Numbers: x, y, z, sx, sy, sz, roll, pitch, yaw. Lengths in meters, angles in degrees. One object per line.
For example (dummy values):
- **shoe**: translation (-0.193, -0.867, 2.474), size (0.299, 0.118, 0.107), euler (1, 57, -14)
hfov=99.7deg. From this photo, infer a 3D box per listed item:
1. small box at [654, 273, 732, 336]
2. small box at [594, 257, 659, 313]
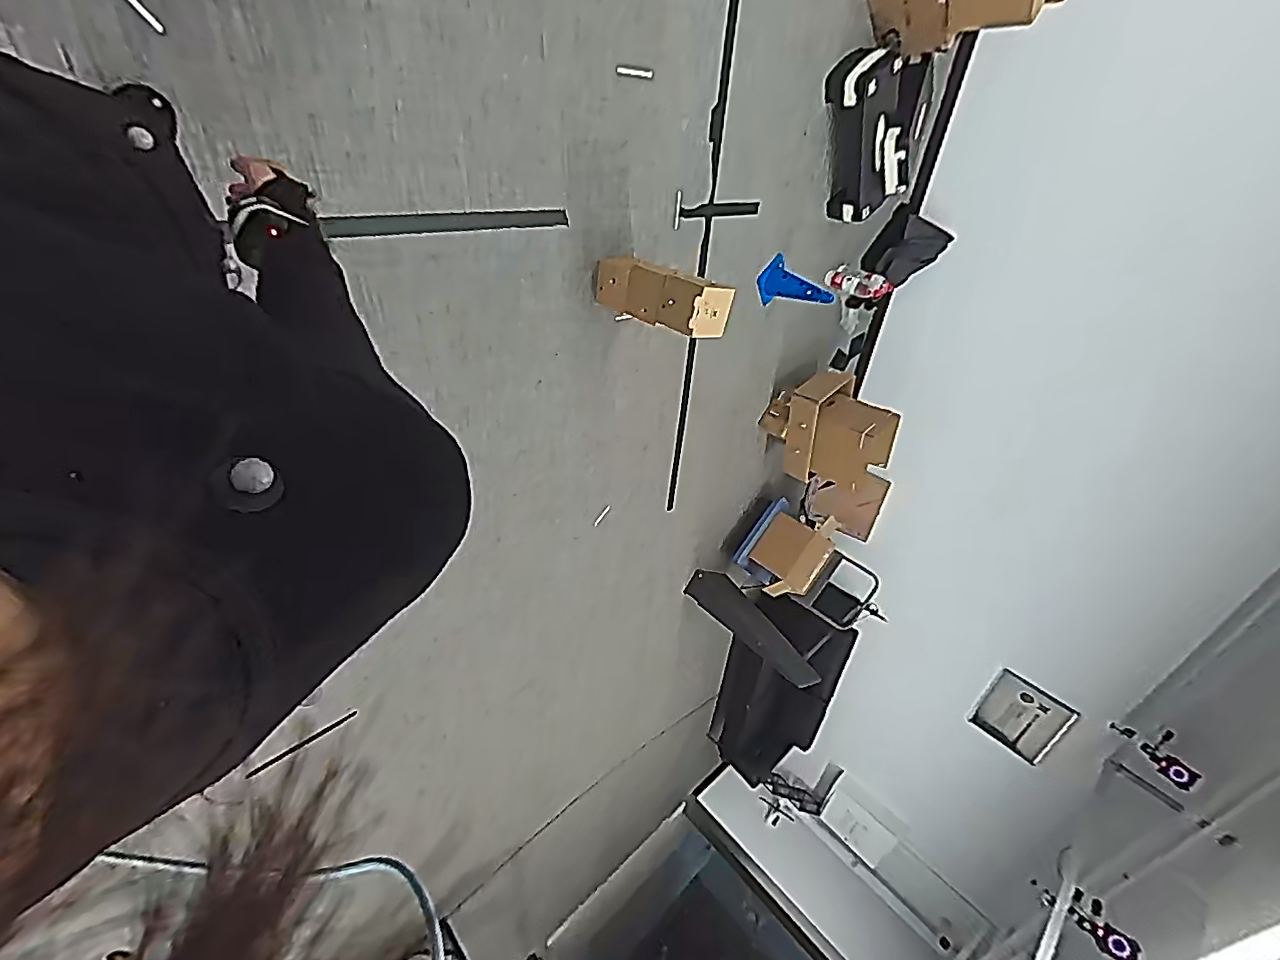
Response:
- **small box**: translation (0.178, -0.598, 1.842), size (0.179, 0.176, 0.168), euler (-15, 129, -43)
- **small box**: translation (-0.056, -0.735, 2.029), size (0.179, 0.176, 0.168), euler (-22, 133, -39)
